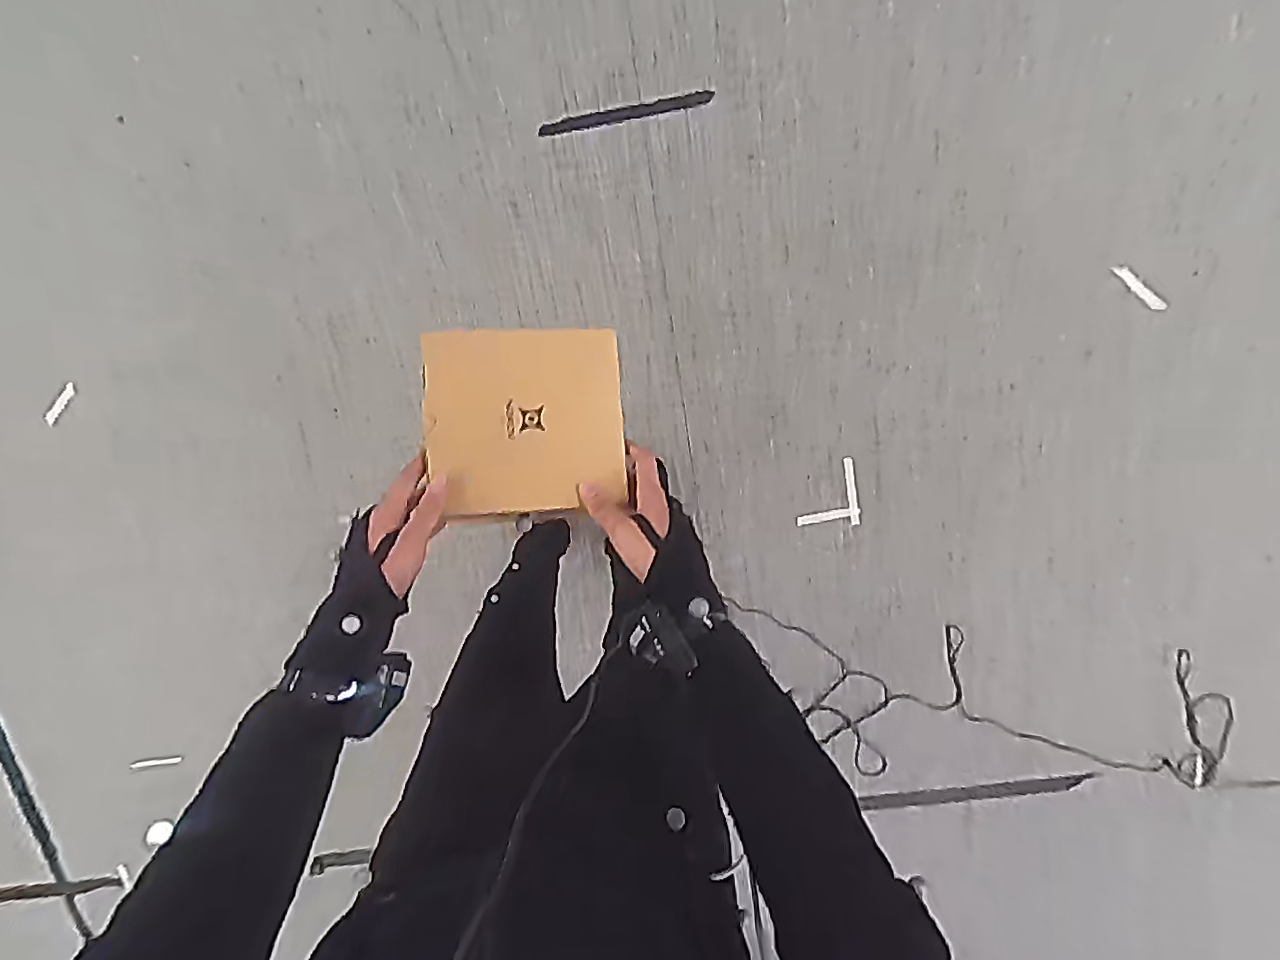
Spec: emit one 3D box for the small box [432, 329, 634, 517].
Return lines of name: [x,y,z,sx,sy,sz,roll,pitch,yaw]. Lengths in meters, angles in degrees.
small box: [-0.108,-0.047,0.562,0.179,0.176,0.168,-3,85,-10]
